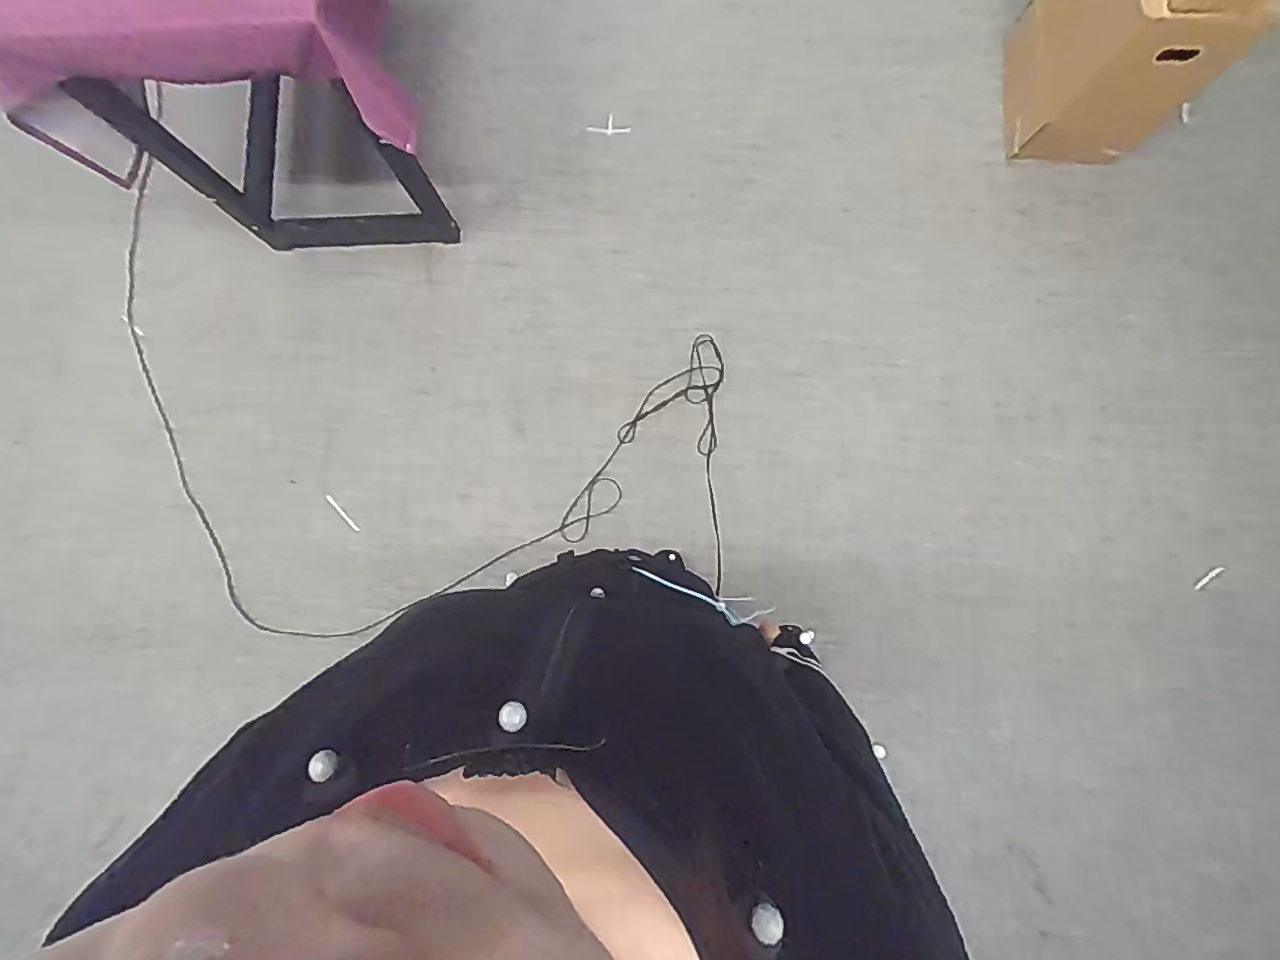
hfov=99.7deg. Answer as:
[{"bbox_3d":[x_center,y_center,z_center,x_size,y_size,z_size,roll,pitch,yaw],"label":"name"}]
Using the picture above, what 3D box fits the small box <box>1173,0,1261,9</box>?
[{"bbox_3d":[1.238,-1.098,1.089,0.179,0.176,0.168,2,83,2],"label":"small box"}]
